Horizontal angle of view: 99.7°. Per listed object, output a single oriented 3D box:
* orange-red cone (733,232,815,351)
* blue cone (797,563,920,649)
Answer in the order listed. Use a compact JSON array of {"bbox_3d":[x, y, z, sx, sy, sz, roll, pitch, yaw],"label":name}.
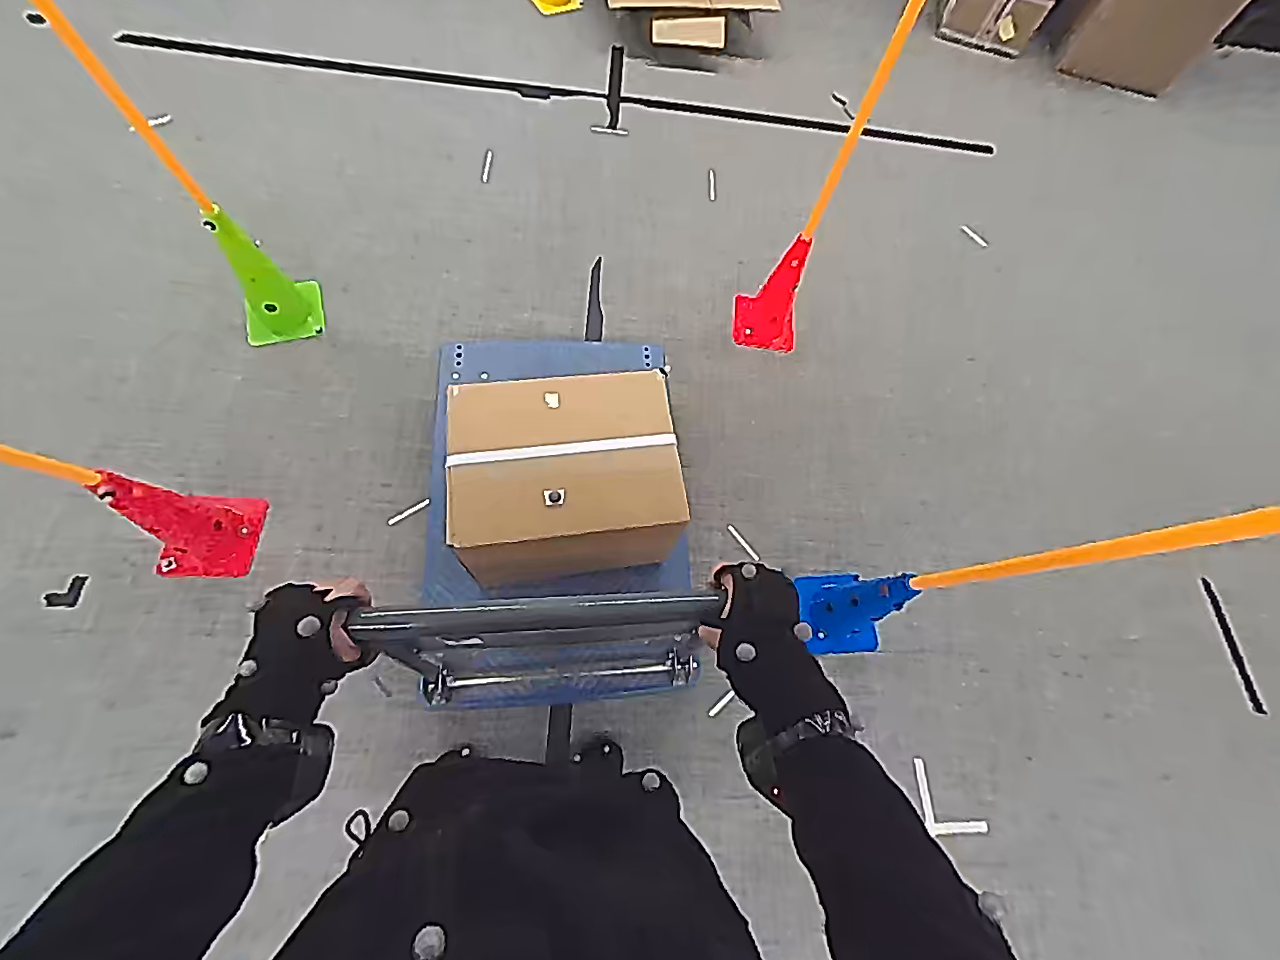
[{"bbox_3d":[0.424,-0.573,1.582,0.199,0.360,0.198,10,67,-4],"label":"orange-red cone"},{"bbox_3d":[0.529,0.270,1.251,0.193,0.380,0.192,0,66,-8],"label":"blue cone"}]
